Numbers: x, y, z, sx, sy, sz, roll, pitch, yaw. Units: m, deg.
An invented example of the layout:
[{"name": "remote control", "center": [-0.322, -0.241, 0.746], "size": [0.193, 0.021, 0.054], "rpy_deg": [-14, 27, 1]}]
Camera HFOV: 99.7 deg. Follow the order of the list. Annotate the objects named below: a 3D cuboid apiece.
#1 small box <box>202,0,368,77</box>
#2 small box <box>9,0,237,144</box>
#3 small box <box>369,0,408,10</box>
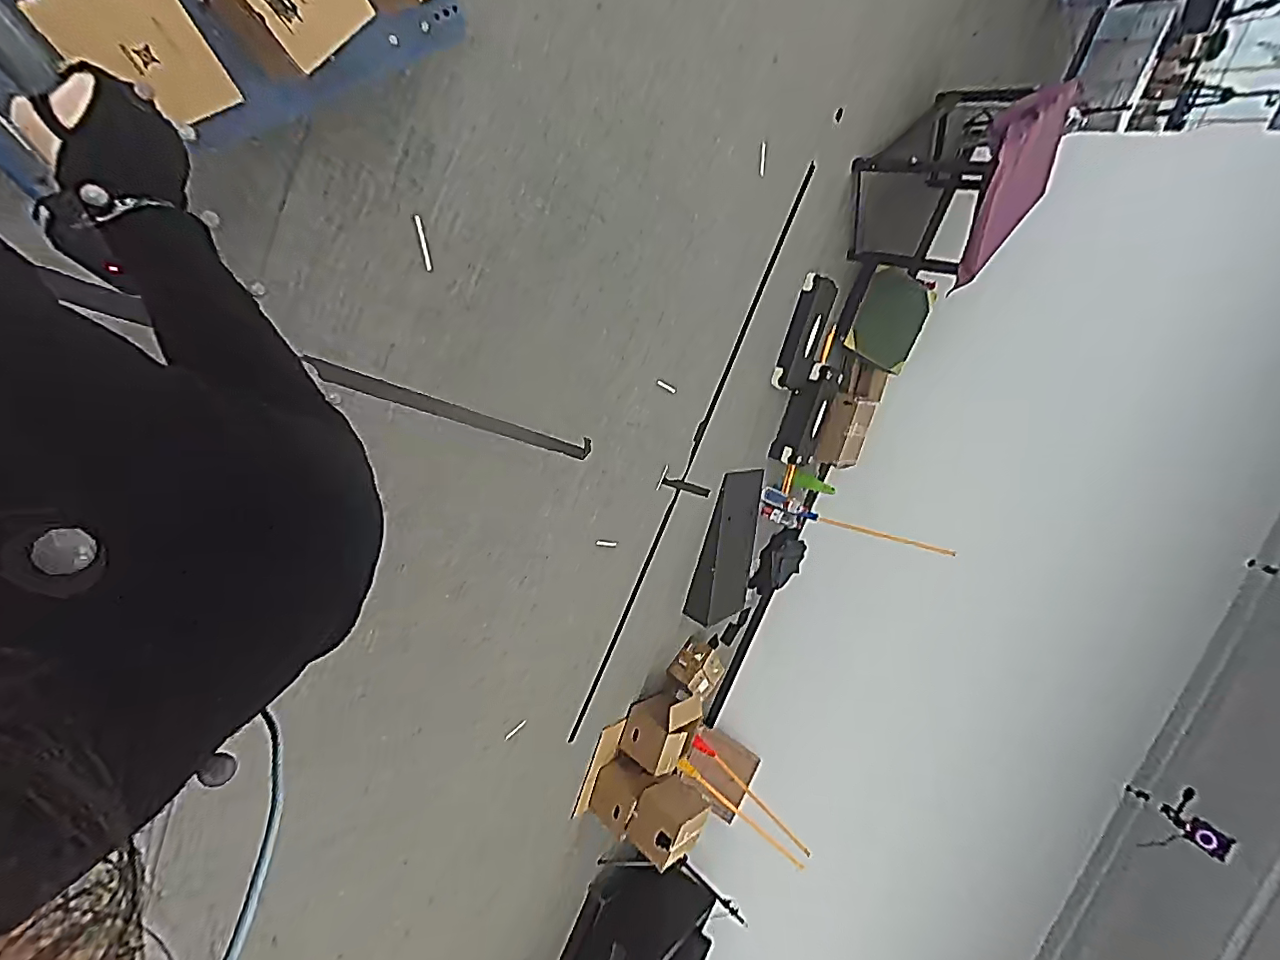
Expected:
[{"name": "small box", "center": [-0.602, -0.803, 0.892], "size": [0.179, 0.176, 0.168], "rpy_deg": [-55, 144, -14]}, {"name": "small box", "center": [-0.762, -0.621, 0.803], "size": [0.179, 0.176, 0.168], "rpy_deg": [-47, 143, -23]}, {"name": "small box", "center": [-0.434, -0.997, 0.985], "size": [0.179, 0.176, 0.168], "rpy_deg": [-49, 142, -21]}]
